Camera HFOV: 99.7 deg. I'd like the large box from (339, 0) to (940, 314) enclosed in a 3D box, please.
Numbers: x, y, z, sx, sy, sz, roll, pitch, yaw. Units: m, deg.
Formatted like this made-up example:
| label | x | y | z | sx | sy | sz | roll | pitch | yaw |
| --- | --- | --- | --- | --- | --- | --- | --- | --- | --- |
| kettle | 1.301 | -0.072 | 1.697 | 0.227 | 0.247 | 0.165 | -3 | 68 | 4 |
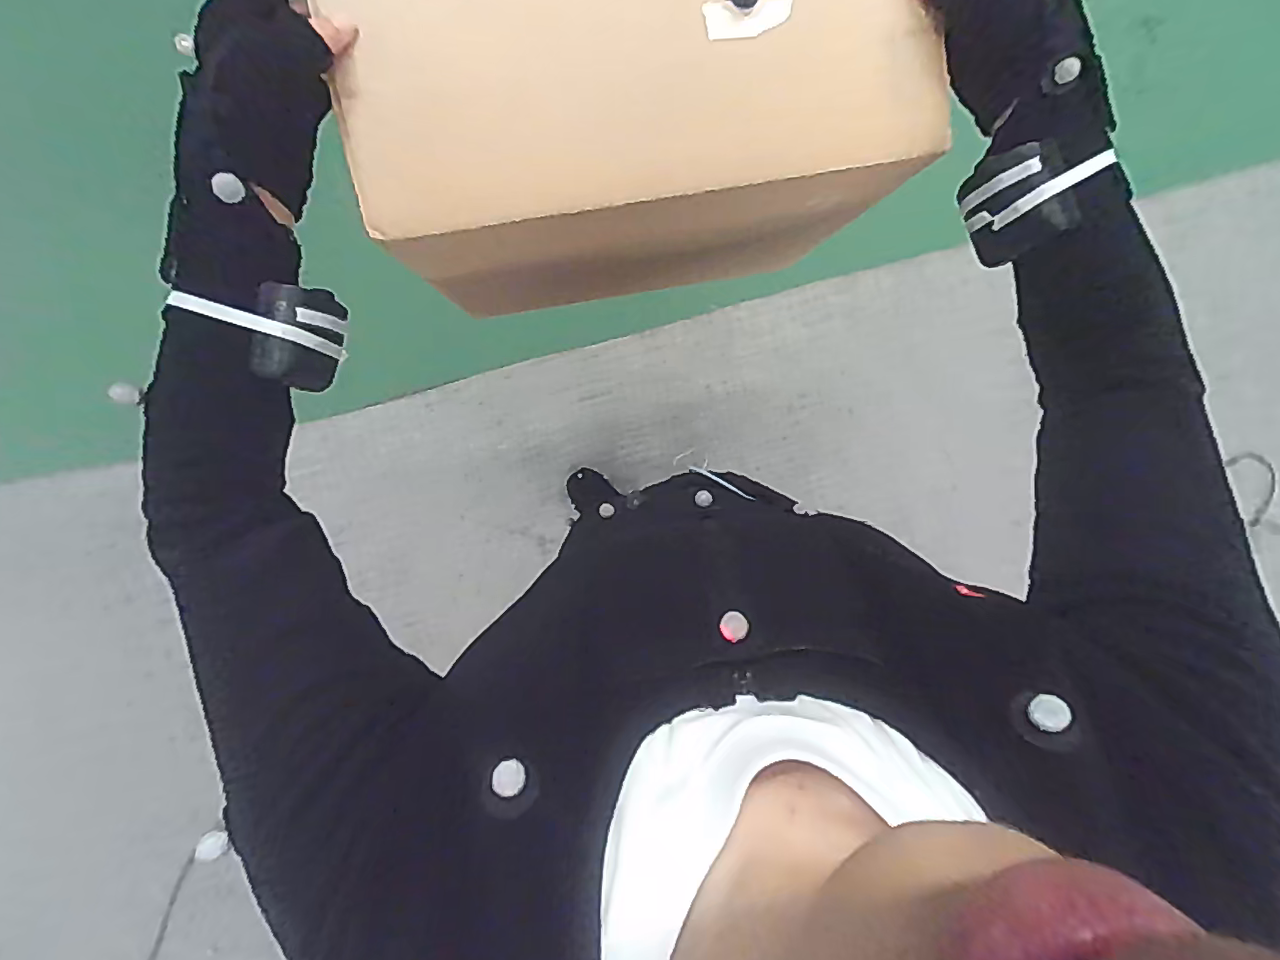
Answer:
| label | x | y | z | sx | sy | sz | roll | pitch | yaw |
| --- | --- | --- | --- | --- | --- | --- | --- | --- | --- |
| large box | -0.018 | -0.367 | 0.504 | 0.408 | 0.320 | 0.320 | -10 | 98 | -5 |
